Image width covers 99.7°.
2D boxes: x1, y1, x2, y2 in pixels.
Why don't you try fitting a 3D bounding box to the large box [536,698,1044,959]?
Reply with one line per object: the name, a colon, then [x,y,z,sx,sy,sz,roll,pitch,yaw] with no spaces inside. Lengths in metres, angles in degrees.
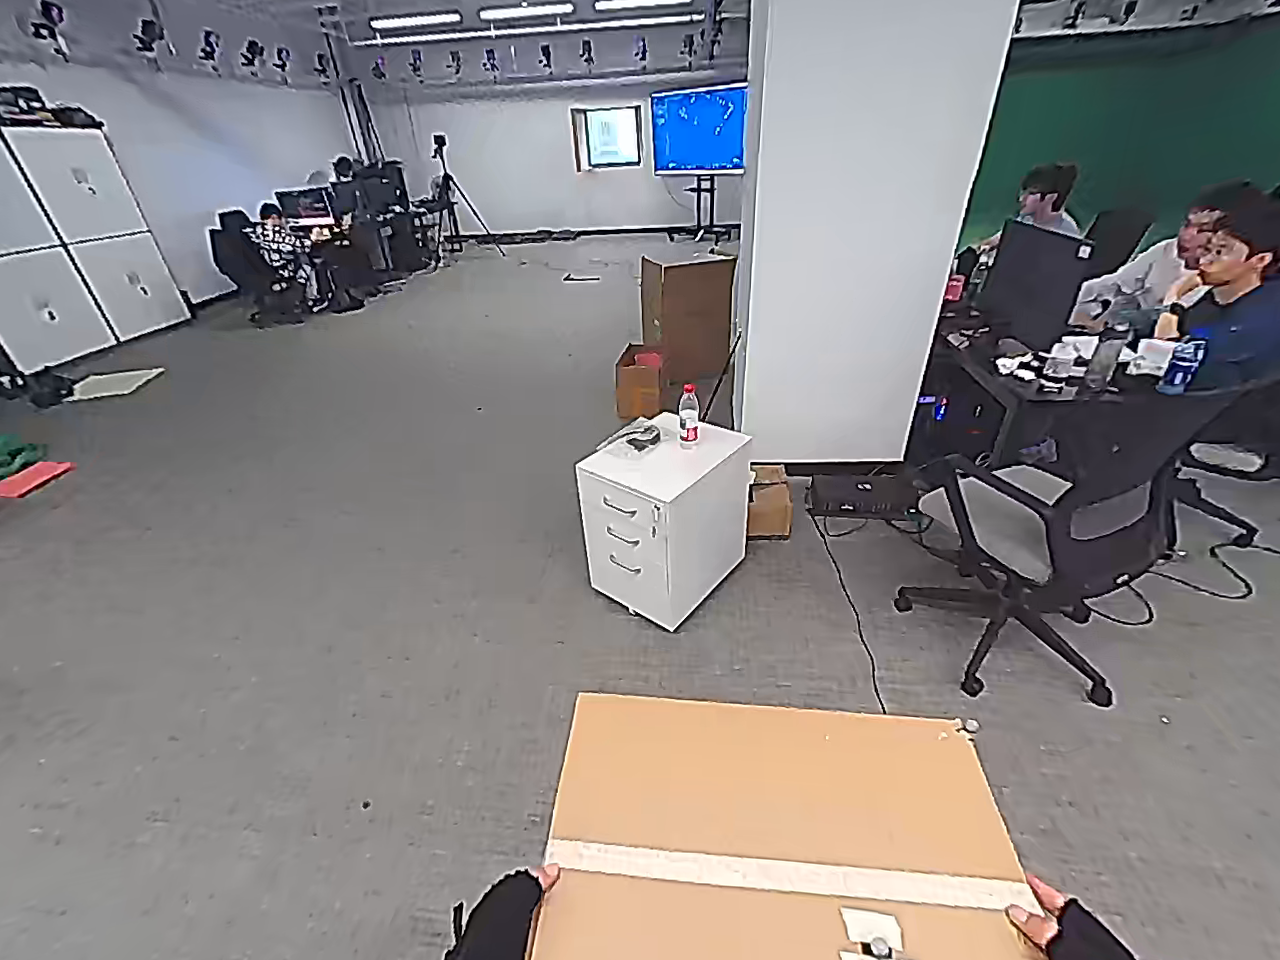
large box: [0.122,0.461,0.556,0.408,0.320,0.320,3,37,5]
